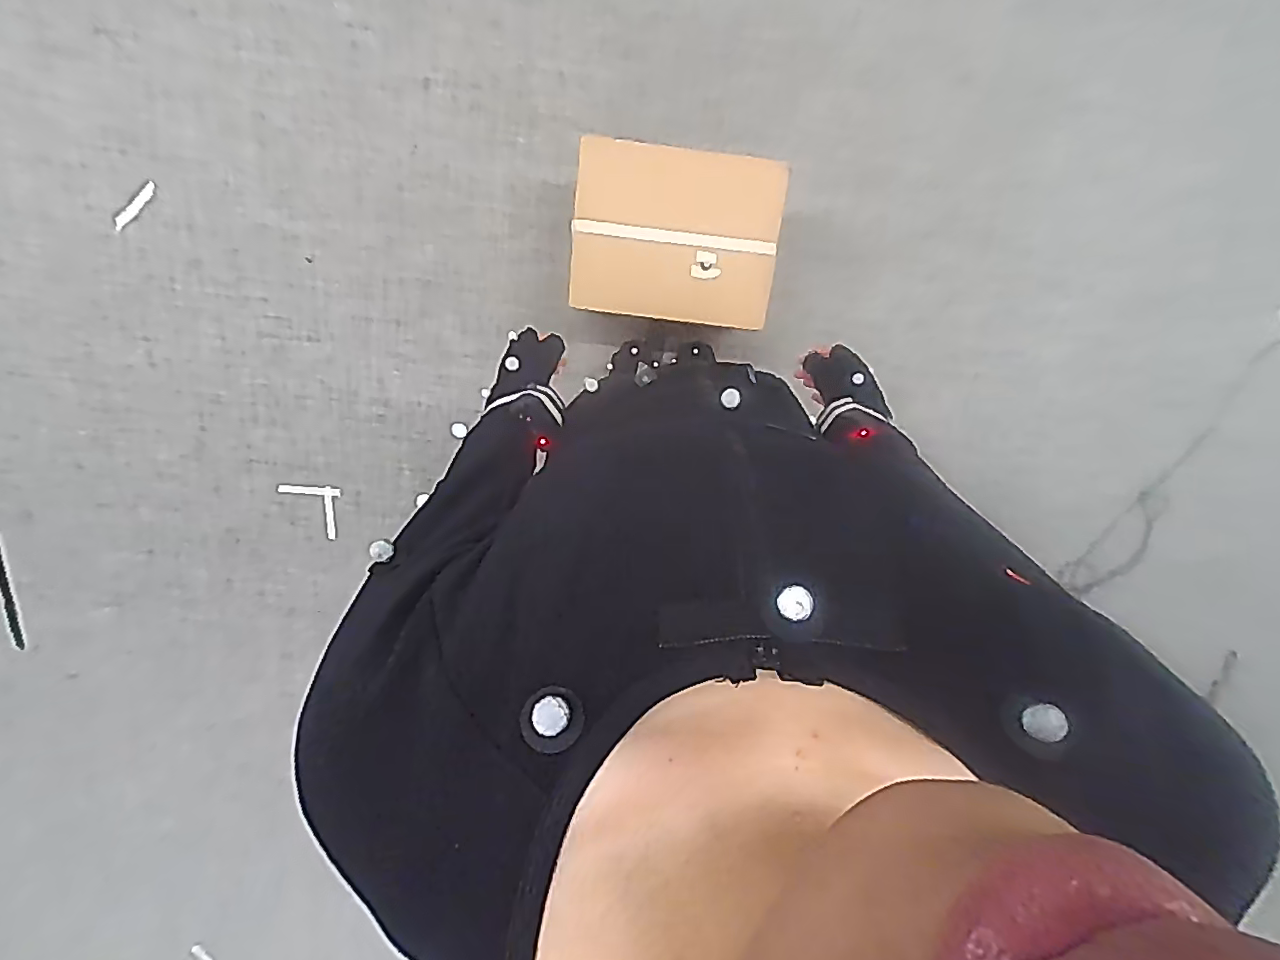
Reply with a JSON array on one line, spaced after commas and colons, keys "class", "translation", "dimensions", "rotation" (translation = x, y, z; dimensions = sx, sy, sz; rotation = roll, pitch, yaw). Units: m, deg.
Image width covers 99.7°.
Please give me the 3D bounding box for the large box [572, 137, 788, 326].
[{"class": "large box", "translation": [0.068, -0.521, 1.204], "dimensions": [0.408, 0.320, 0.320], "rotation": [6, 107, -2]}]
